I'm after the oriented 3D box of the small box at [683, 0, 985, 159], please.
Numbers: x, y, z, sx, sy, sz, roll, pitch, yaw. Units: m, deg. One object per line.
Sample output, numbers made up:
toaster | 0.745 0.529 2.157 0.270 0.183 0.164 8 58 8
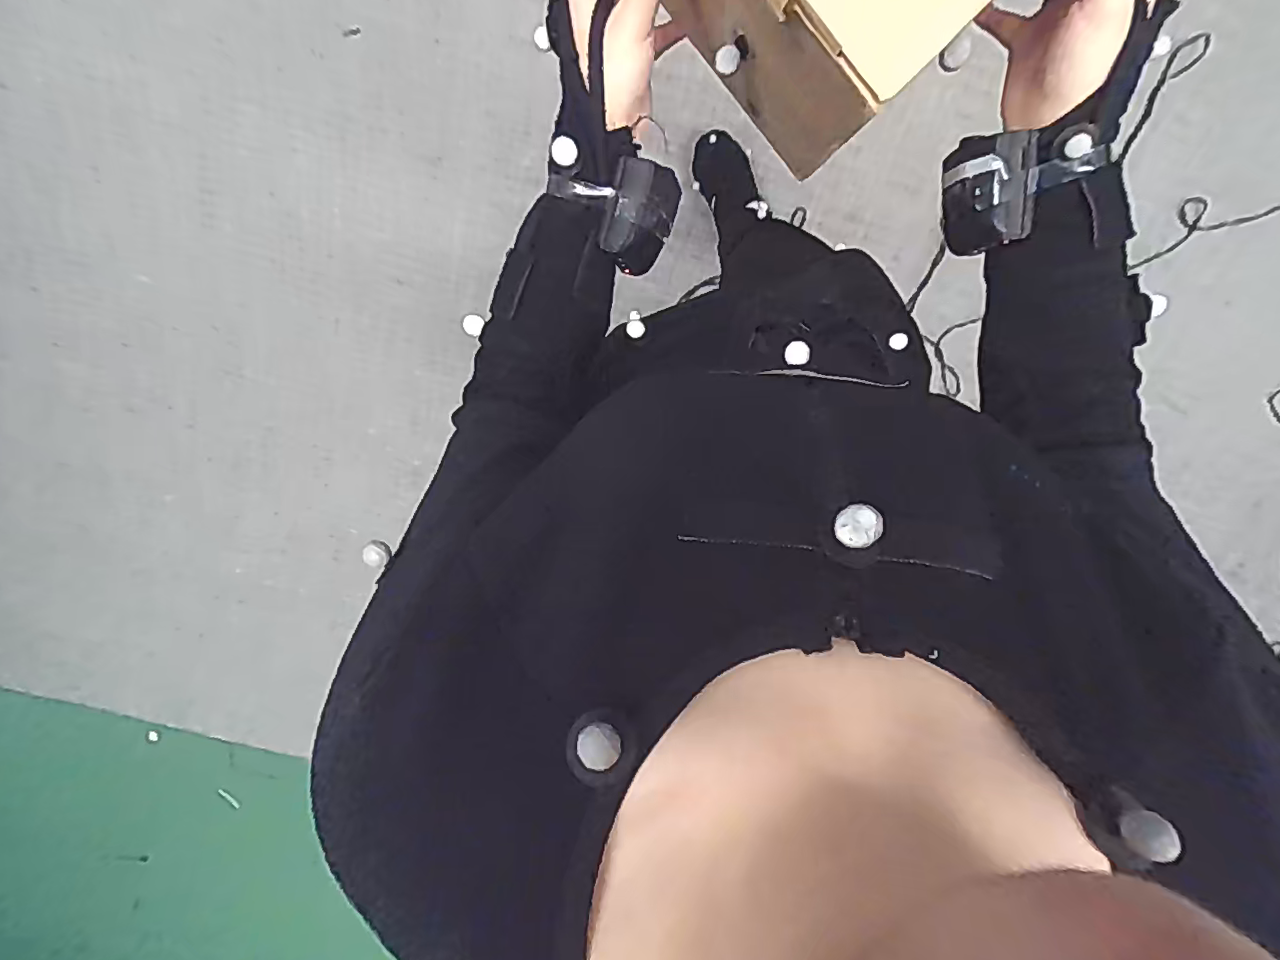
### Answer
small box | 0.122 -0.315 0.290 0.179 0.176 0.168 -42 101 17
